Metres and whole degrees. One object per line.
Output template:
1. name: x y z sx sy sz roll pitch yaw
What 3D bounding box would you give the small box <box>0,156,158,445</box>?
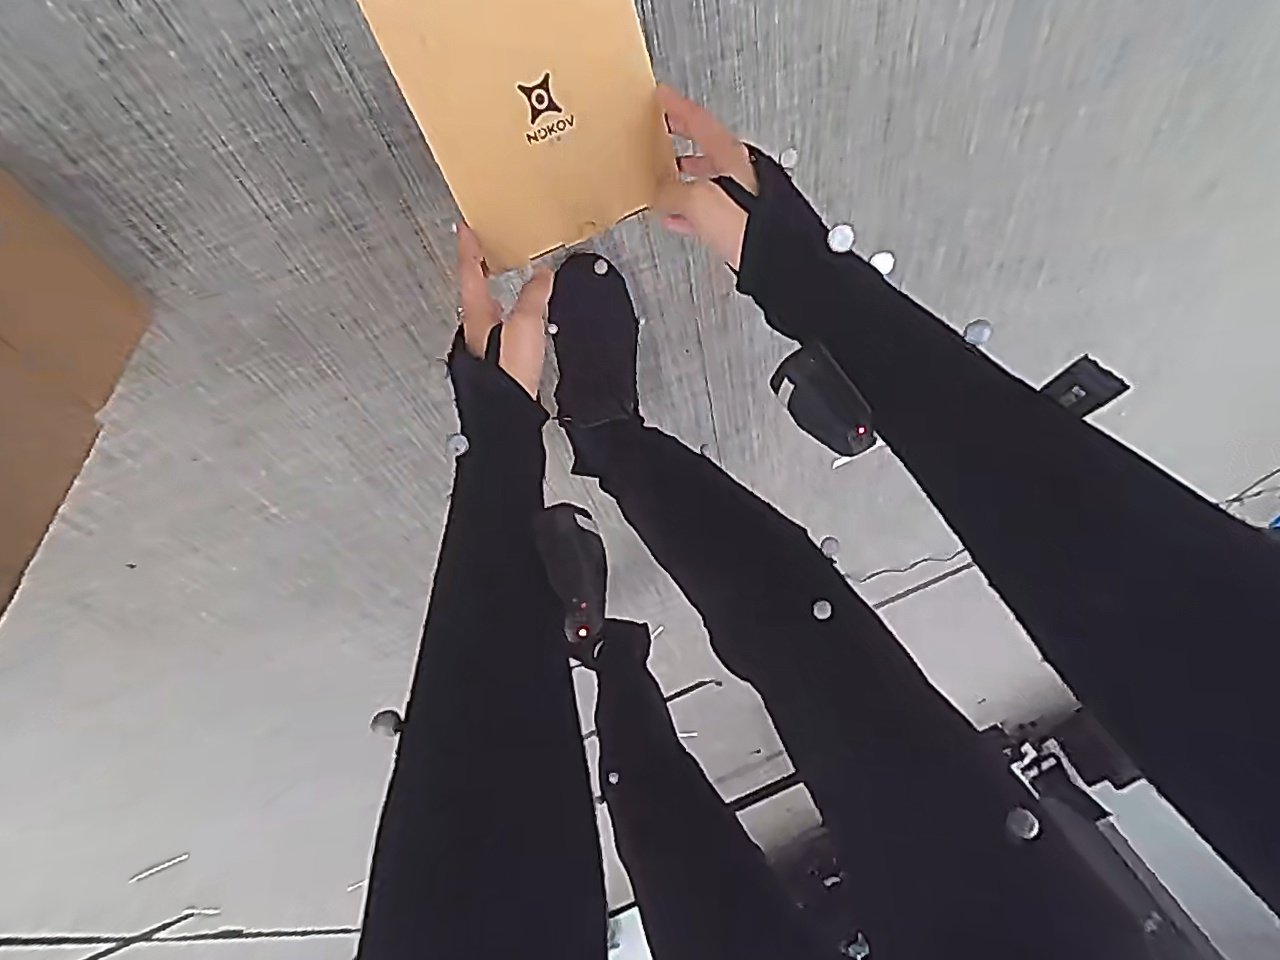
1. small box: -0.554 -0.143 0.431 0.168 0.176 0.179 -22 139 0

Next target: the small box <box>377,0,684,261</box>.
1. small box: -0.087 -0.306 0.442 0.168 0.176 0.179 -25 125 -3
